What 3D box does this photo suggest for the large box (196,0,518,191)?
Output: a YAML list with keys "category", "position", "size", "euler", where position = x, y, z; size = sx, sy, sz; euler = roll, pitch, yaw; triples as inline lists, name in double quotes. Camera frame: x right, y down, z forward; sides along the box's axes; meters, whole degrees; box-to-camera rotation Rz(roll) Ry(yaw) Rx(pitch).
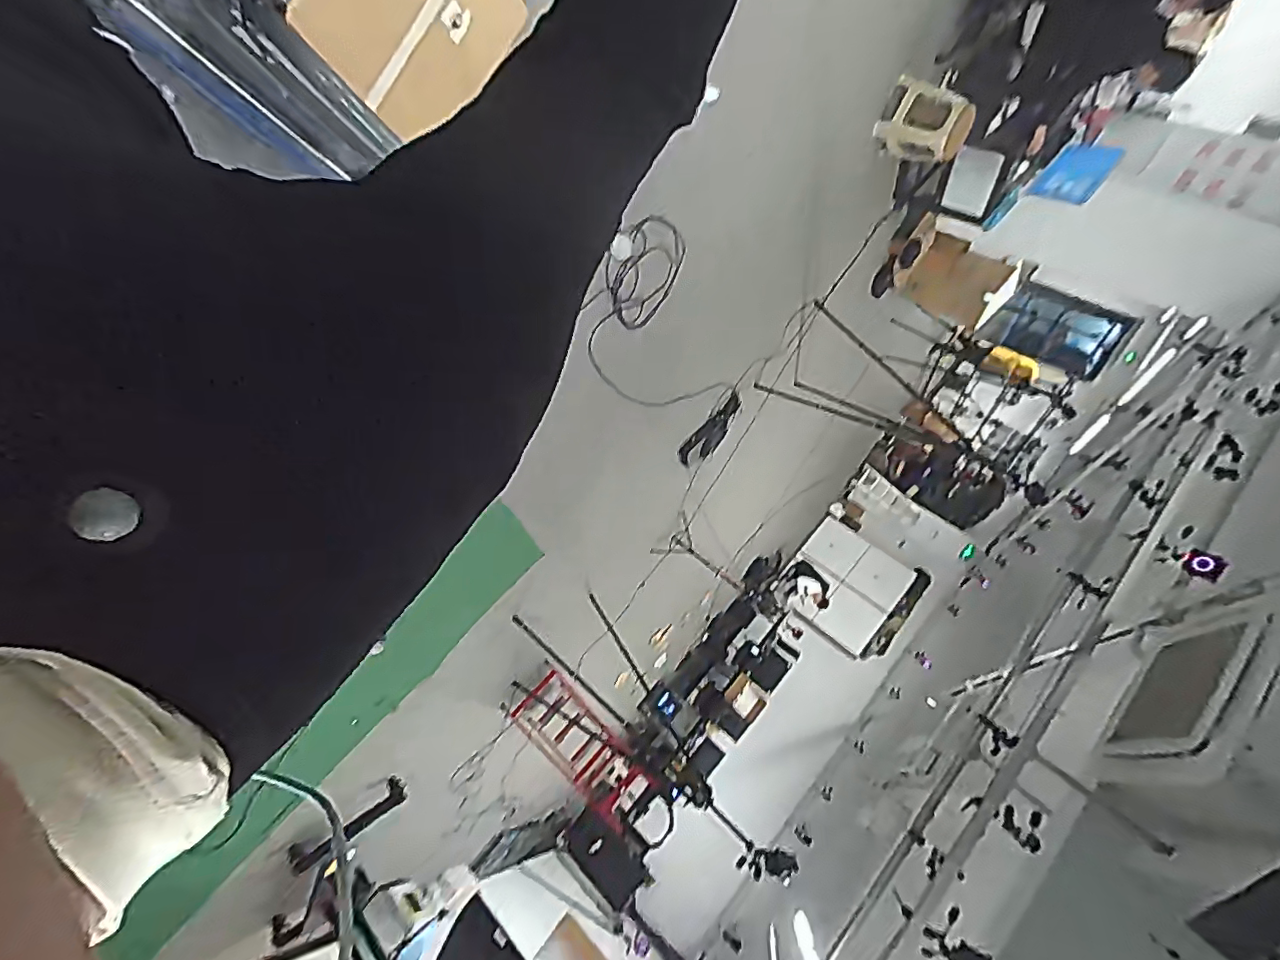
- category: "large box"
  position: [-0.516, -0.849, 1.010]
  size: [0.408, 0.320, 0.320]
  euler: [-56, 154, 2]
